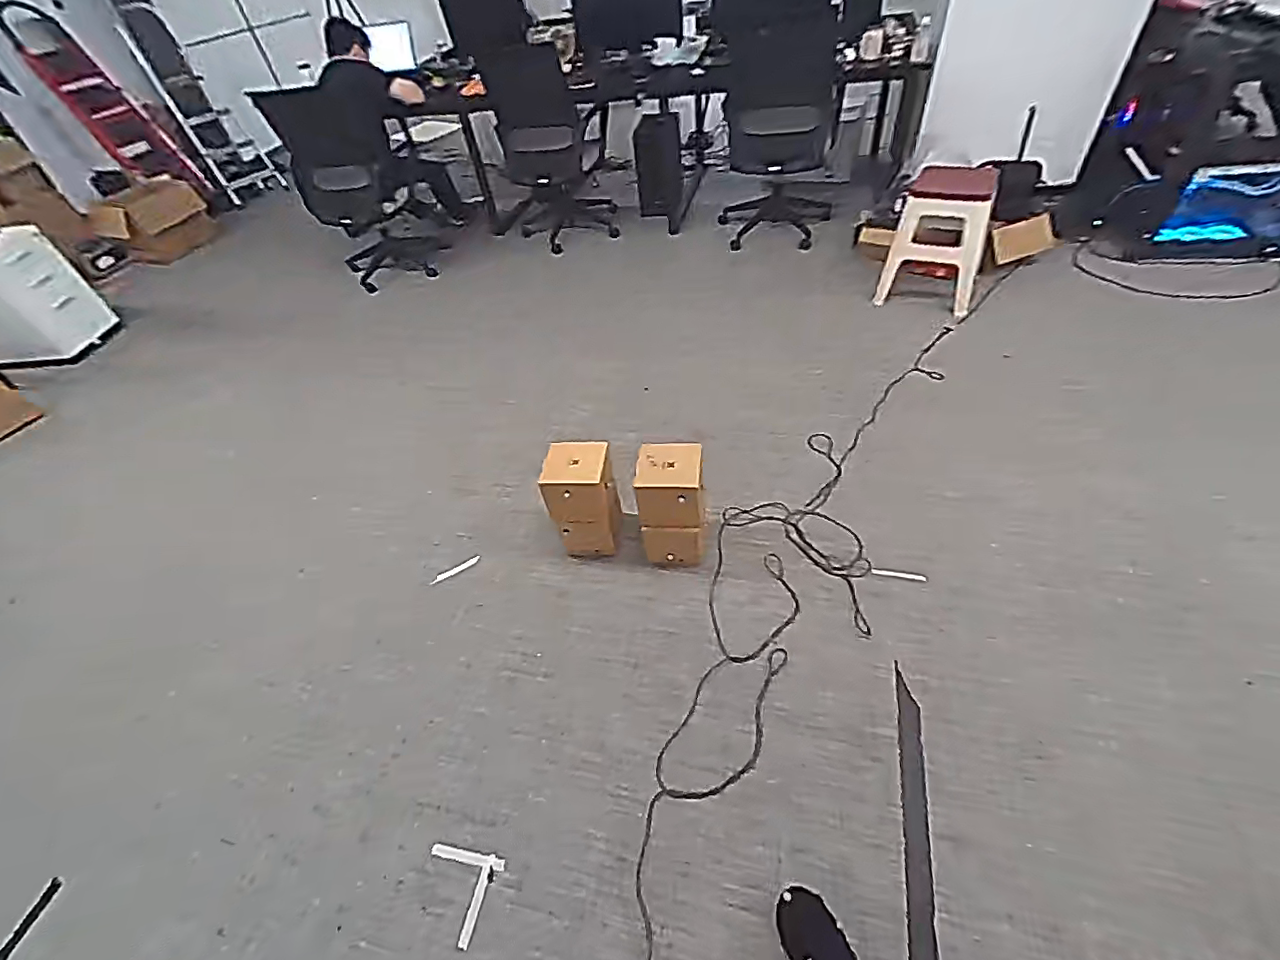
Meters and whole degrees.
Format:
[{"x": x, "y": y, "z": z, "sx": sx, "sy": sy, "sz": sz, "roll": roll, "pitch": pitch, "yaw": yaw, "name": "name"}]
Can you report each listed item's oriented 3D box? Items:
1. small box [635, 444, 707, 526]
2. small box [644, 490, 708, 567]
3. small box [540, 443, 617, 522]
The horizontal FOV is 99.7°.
[{"x": 0.093, "y": 0.017, "z": 1.511, "sx": 0.179, "sy": 0.176, "sz": 0.168, "roll": 0, "pitch": 47, "yaw": 11, "name": "small box"}, {"x": 0.113, "y": 0.137, "z": 1.623, "sx": 0.168, "sy": 0.176, "sz": 0.179, "roll": 2, "pitch": 48, "yaw": 13, "name": "small box"}, {"x": -0.169, "y": 0.009, "z": 1.570, "sx": 0.179, "sy": 0.176, "sz": 0.168, "roll": -1, "pitch": 47, "yaw": 10, "name": "small box"}]
